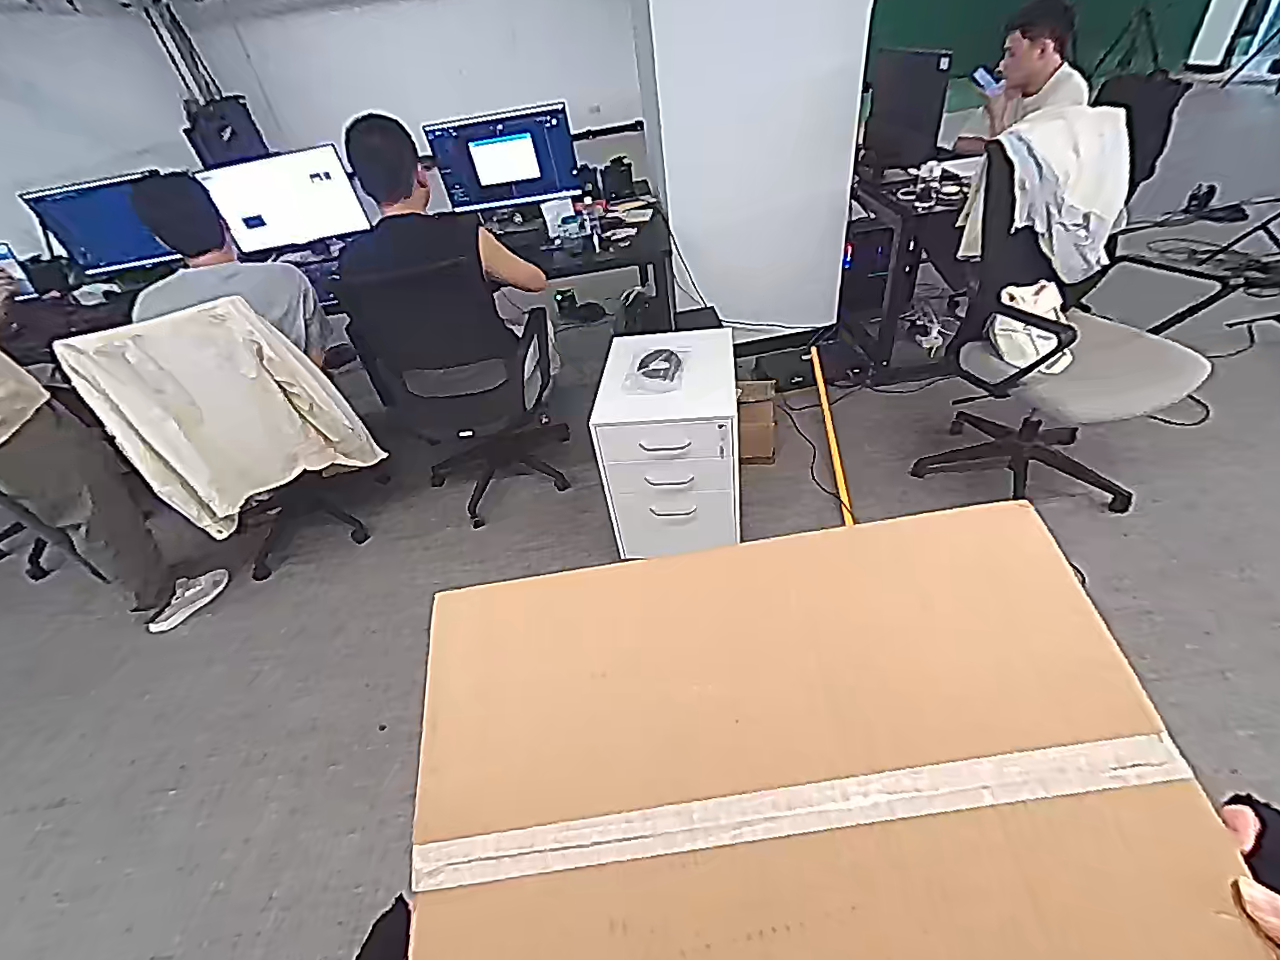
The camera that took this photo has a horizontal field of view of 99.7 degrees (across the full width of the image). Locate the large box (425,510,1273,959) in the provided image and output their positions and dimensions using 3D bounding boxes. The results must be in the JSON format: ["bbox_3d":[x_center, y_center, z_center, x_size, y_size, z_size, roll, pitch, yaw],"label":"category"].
[{"bbox_3d":[0.095,0.261,0.419,0.408,0.320,0.320,-10,58,2],"label":"large box"}]
